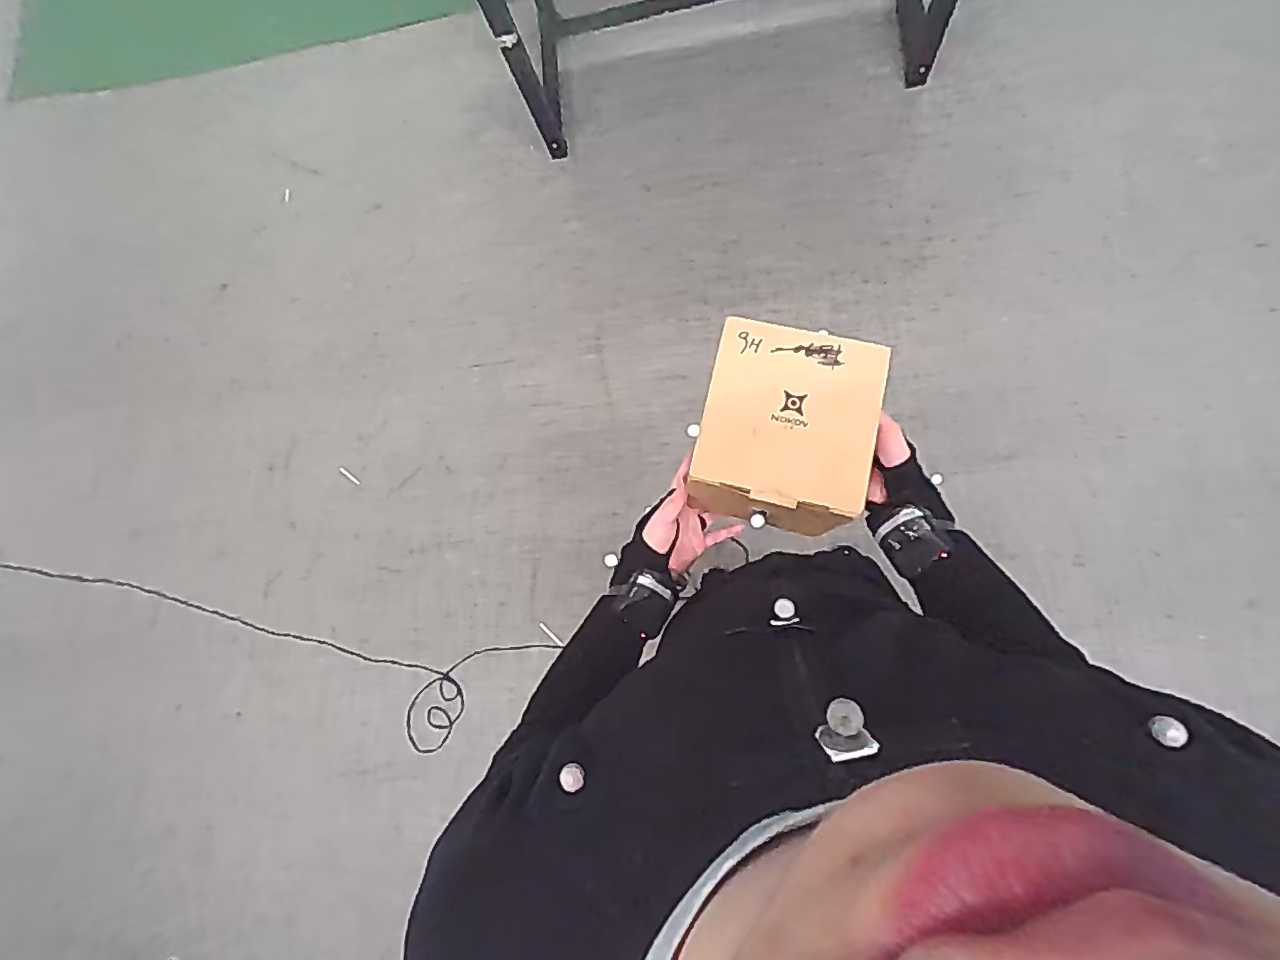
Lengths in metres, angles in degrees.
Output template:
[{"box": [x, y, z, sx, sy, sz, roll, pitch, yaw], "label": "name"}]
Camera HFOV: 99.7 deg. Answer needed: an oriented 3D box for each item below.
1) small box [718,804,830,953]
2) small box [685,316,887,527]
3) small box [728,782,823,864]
[{"box": [0.295, 0.883, 1.218, 0.179, 0.176, 0.168, -43, 78, 1], "label": "small box"}, {"box": [0.150, -0.052, 0.605, 0.168, 0.176, 0.179, 13, 80, 6], "label": "small box"}, {"box": [0.334, 0.917, 1.374, 0.168, 0.176, 0.179, 39, 91, 12], "label": "small box"}]
